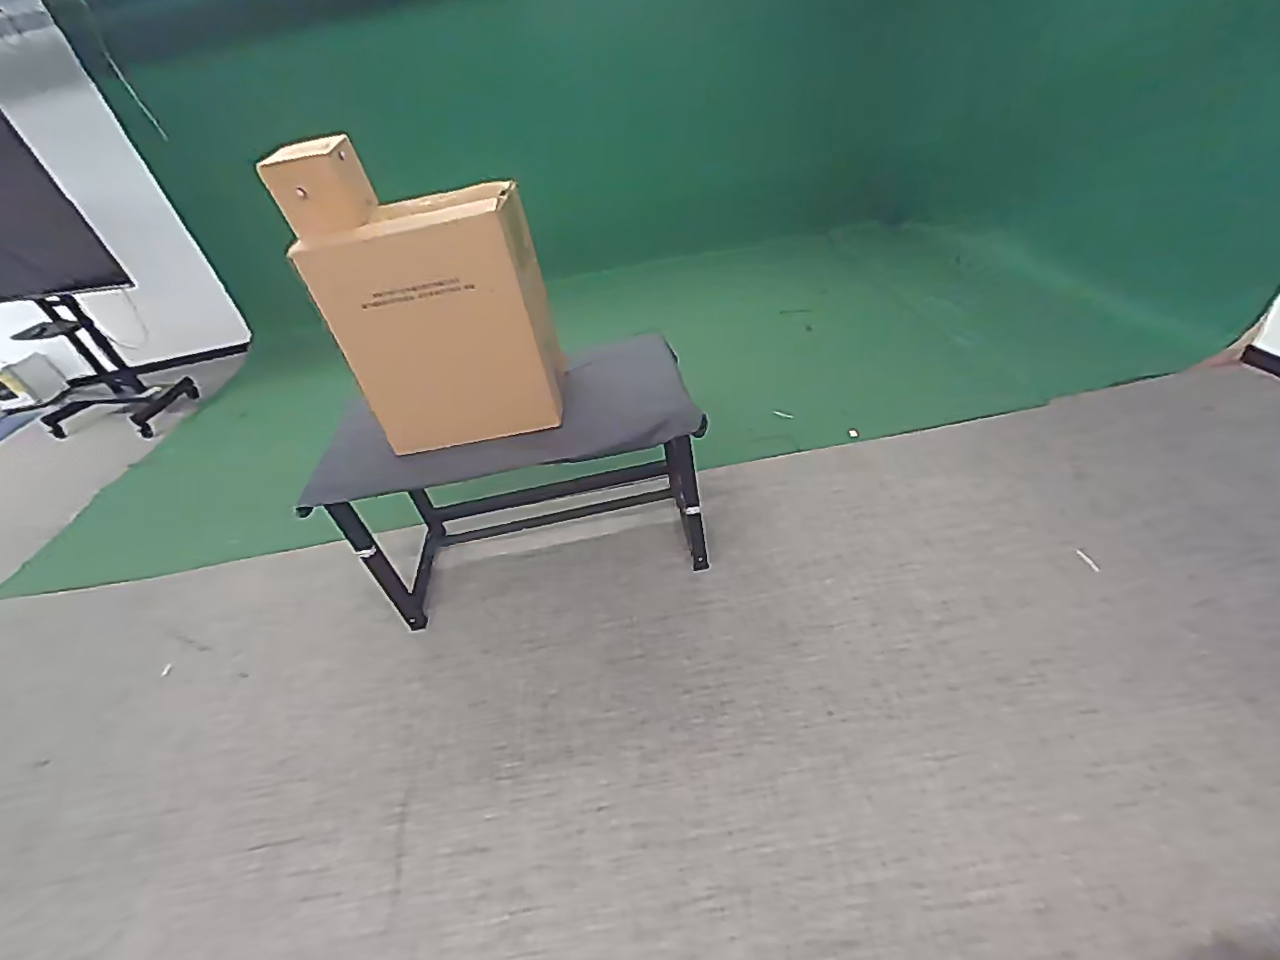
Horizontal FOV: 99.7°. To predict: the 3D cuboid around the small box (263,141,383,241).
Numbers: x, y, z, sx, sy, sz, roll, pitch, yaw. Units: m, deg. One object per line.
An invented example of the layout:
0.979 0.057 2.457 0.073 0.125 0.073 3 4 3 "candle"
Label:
-0.791 -0.728 1.371 0.179 0.176 0.168 -10 46 3 "small box"
